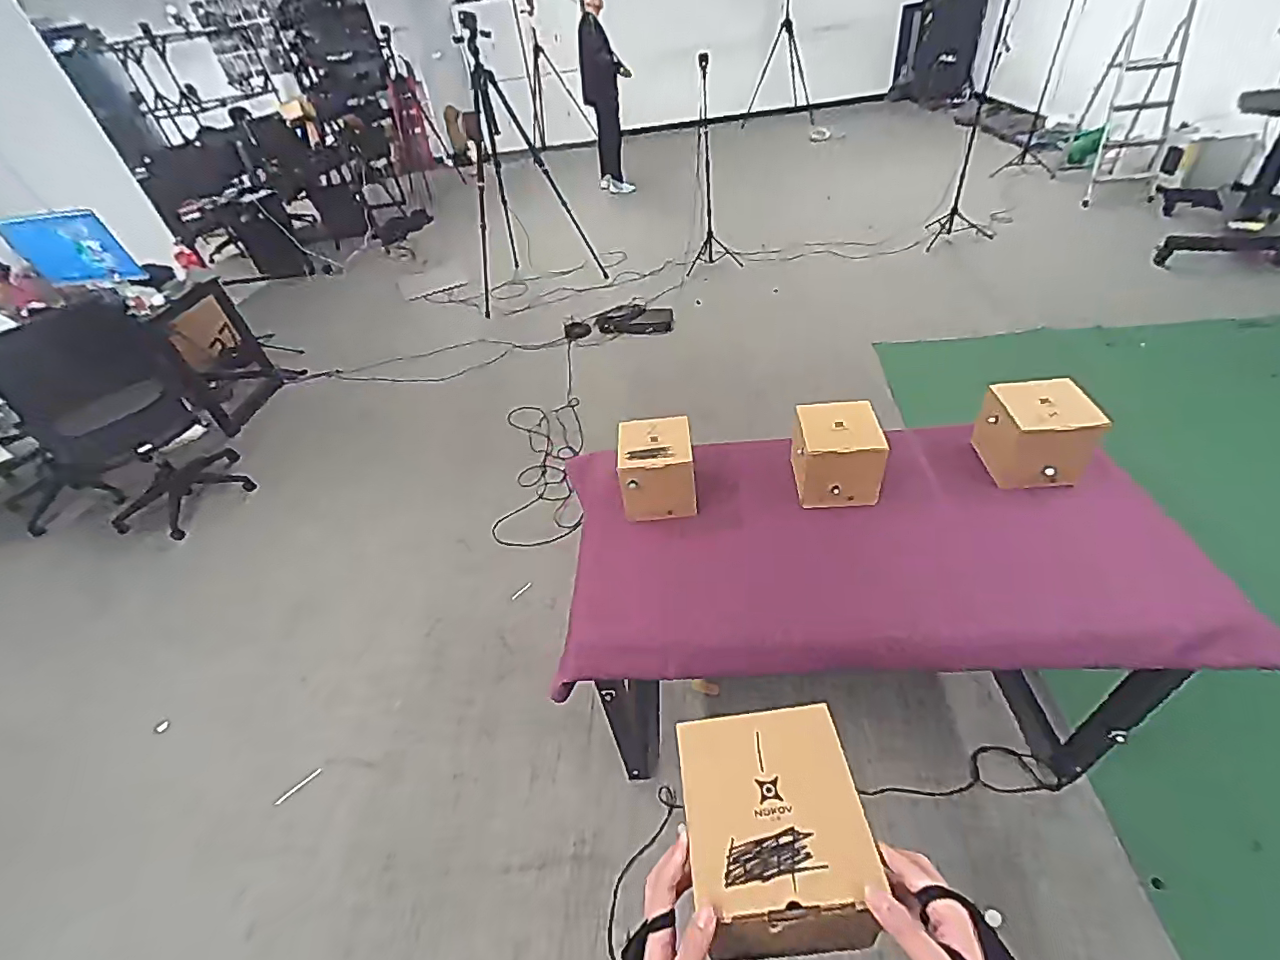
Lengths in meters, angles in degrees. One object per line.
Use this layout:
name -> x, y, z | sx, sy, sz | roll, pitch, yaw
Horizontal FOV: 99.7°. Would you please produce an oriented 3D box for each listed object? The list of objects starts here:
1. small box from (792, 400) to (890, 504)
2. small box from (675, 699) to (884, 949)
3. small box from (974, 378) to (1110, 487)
small box -> 0.448, -0.064, 1.237 | 0.168, 0.176, 0.179 | -2, 44, 7
small box -> 0.135, 0.361, 0.566 | 0.168, 0.176, 0.179 | -9, 37, 3
small box -> 0.873, -0.104, 1.200 | 0.168, 0.176, 0.179 | -4, 43, 9
